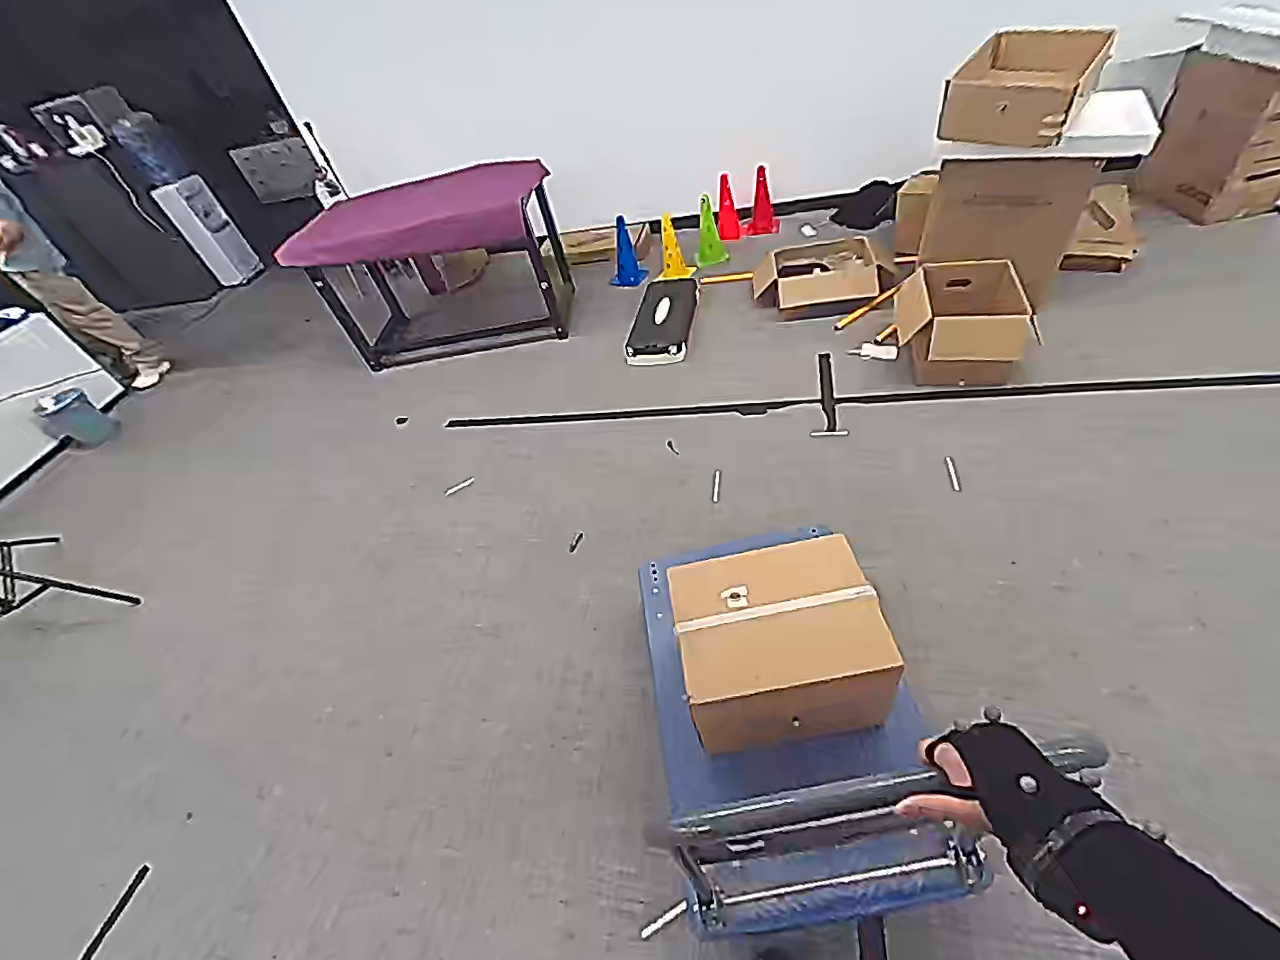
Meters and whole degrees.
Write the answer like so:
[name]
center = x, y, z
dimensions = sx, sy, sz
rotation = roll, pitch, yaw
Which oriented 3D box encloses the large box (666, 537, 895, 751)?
[large box]
center = 0.302, 0.380, 1.233
dimensions = 0.408, 0.320, 0.320
rotation = -13, 45, 4
